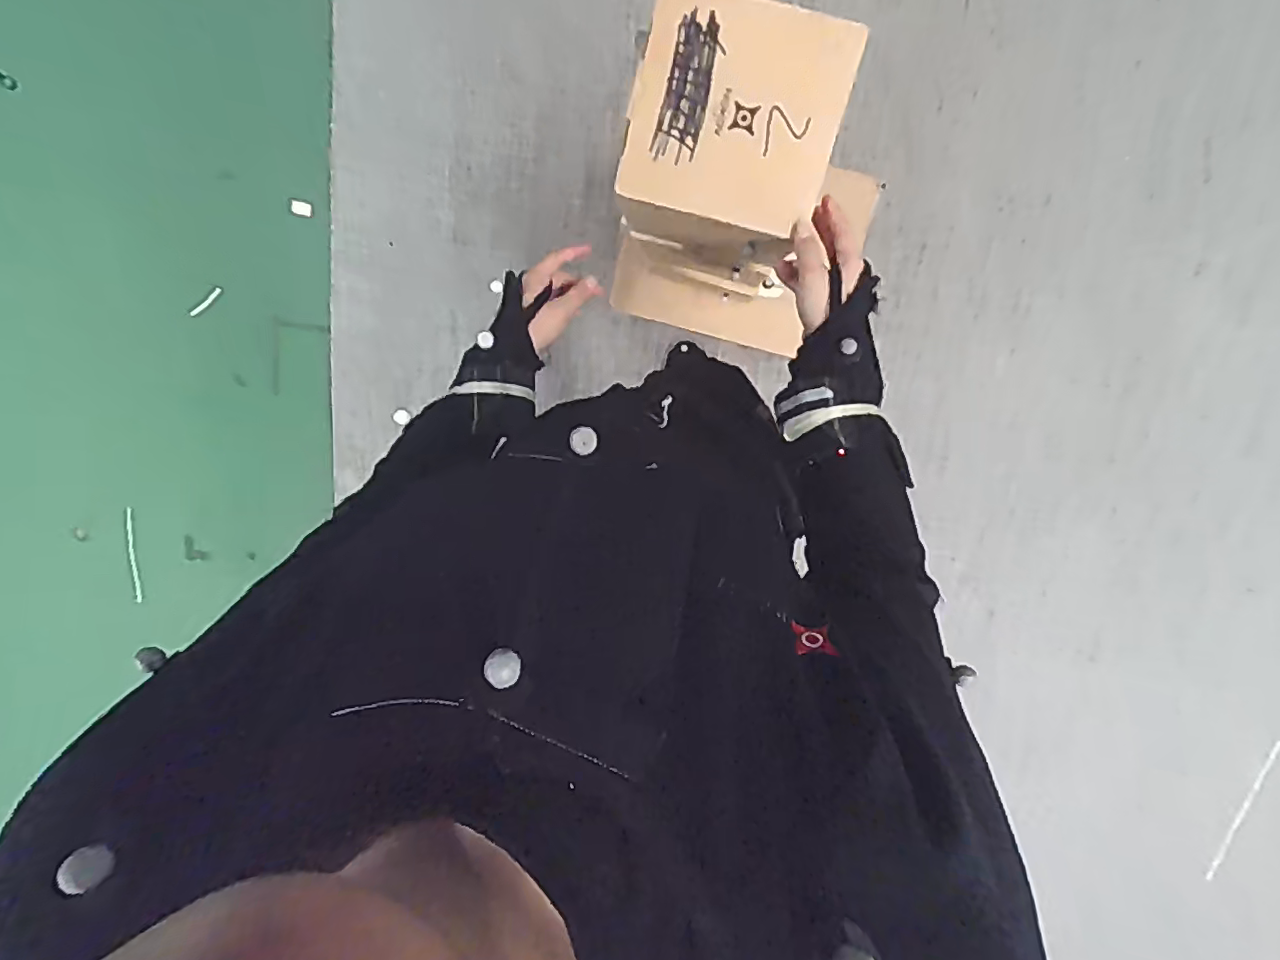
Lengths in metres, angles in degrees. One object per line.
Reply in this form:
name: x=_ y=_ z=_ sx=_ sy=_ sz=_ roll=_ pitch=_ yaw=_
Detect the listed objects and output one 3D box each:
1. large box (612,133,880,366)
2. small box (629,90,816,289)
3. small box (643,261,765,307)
large box: x=0.184 y=-0.432 z=1.081 sx=0.408 sy=0.320 sz=0.320 roll=15 pitch=107 yaw=1
small box: x=0.097 y=-0.352 z=0.691 sx=0.179 sy=0.176 sz=0.168 roll=15 pitch=104 yaw=1
small box: x=0.117 y=-0.376 z=0.851 sx=0.179 sy=0.176 sz=0.168 roll=16 pitch=104 yaw=3
